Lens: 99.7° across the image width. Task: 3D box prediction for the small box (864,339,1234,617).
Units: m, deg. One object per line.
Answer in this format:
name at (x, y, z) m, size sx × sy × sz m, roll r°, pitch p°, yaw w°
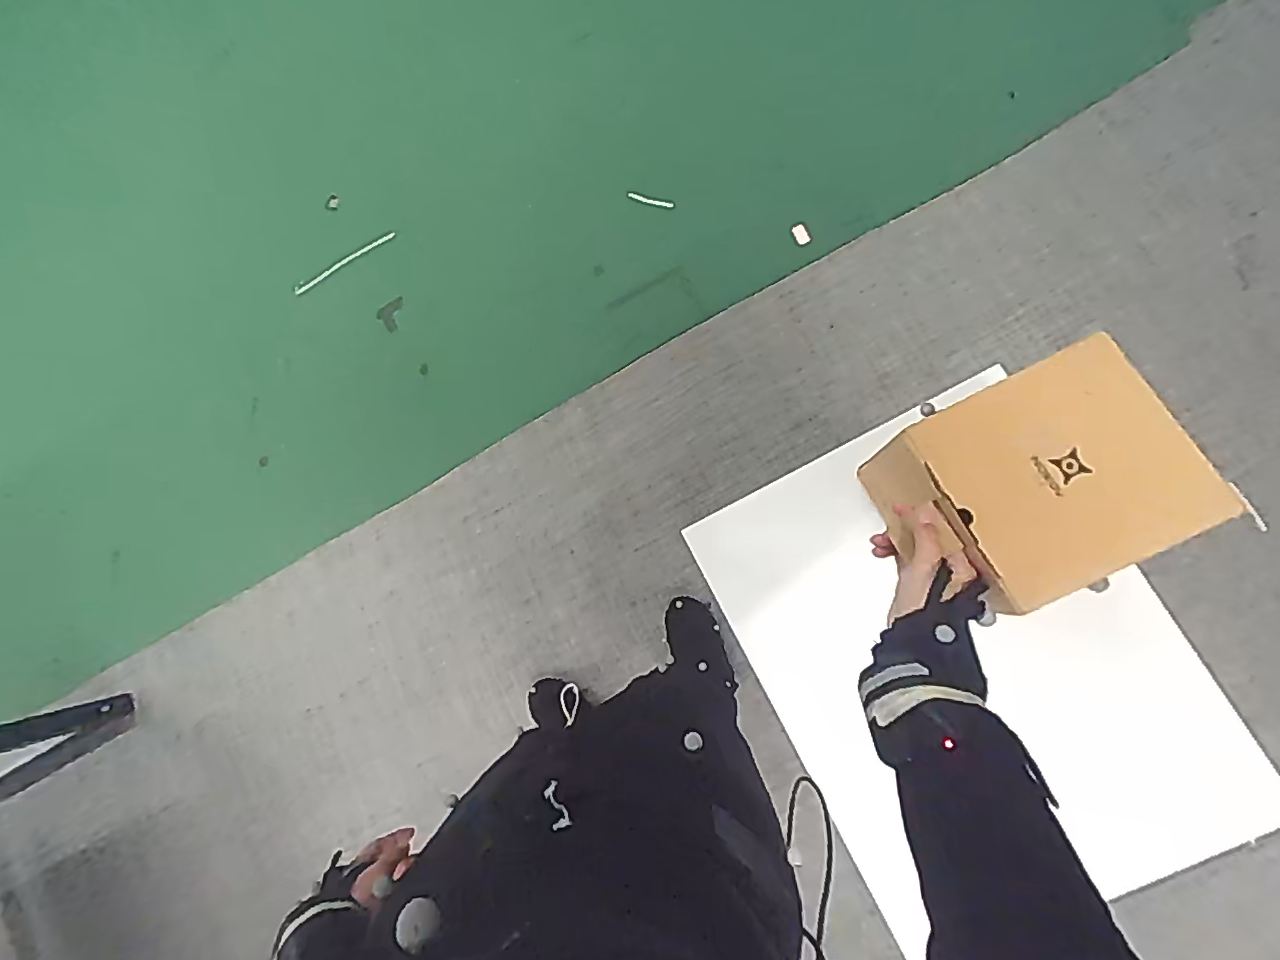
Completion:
small box at (0.339, 0.007, 0.496) m, size 0.179 × 0.176 × 0.168 m, roll -27°, pitch 78°, yaw 4°
